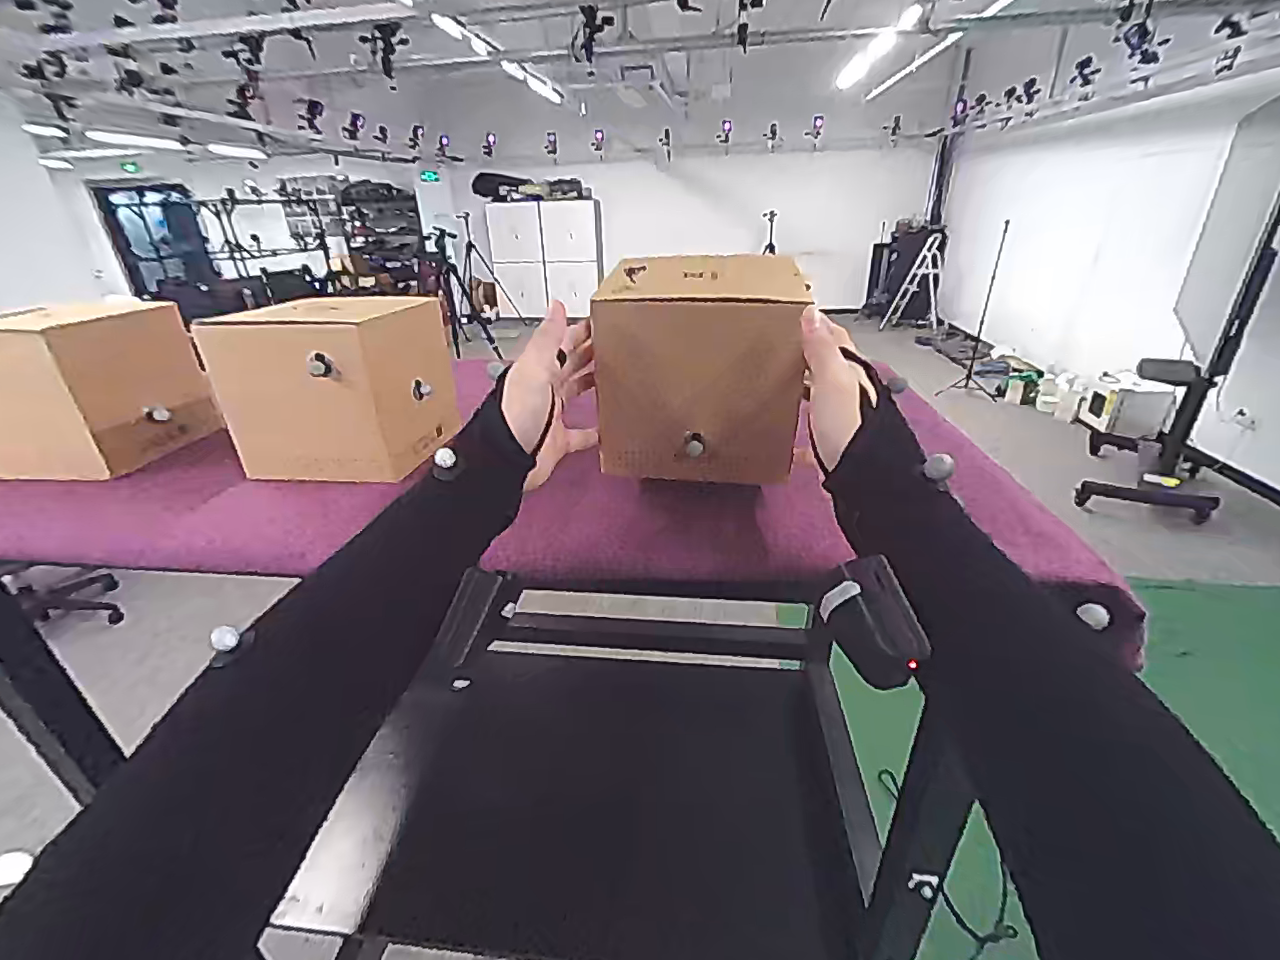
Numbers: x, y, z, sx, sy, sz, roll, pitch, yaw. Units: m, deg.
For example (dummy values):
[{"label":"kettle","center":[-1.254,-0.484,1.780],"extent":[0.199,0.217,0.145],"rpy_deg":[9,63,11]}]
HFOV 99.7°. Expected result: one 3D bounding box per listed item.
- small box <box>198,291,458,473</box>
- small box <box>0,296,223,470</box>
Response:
[{"label":"small box","center":[-0.328,-0.115,0.614],"extent":[0.179,0.176,0.168],"rpy_deg":[2,26,8]},{"label":"small box","center":[-0.659,-0.119,0.643],"extent":[0.179,0.176,0.168],"rpy_deg":[1,27,4]}]
